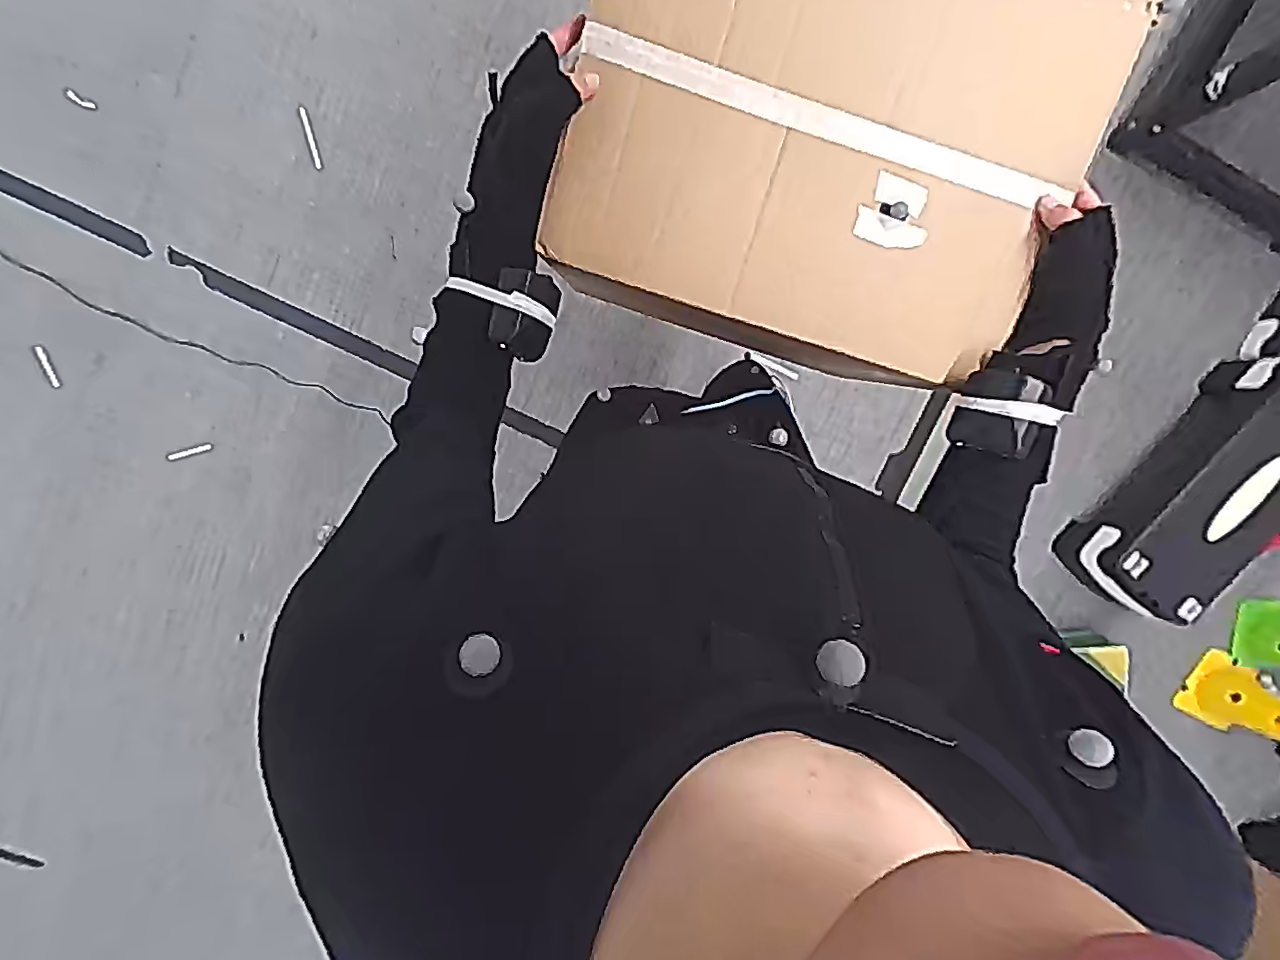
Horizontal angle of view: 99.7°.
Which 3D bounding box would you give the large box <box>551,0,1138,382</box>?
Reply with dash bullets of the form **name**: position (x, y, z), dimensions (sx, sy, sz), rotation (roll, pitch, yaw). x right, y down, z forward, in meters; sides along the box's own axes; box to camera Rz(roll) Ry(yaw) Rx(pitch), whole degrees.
- **large box**: position (0.150, -0.315, 0.577), dimensions (0.408, 0.320, 0.320), rotation (16, 104, -5)
